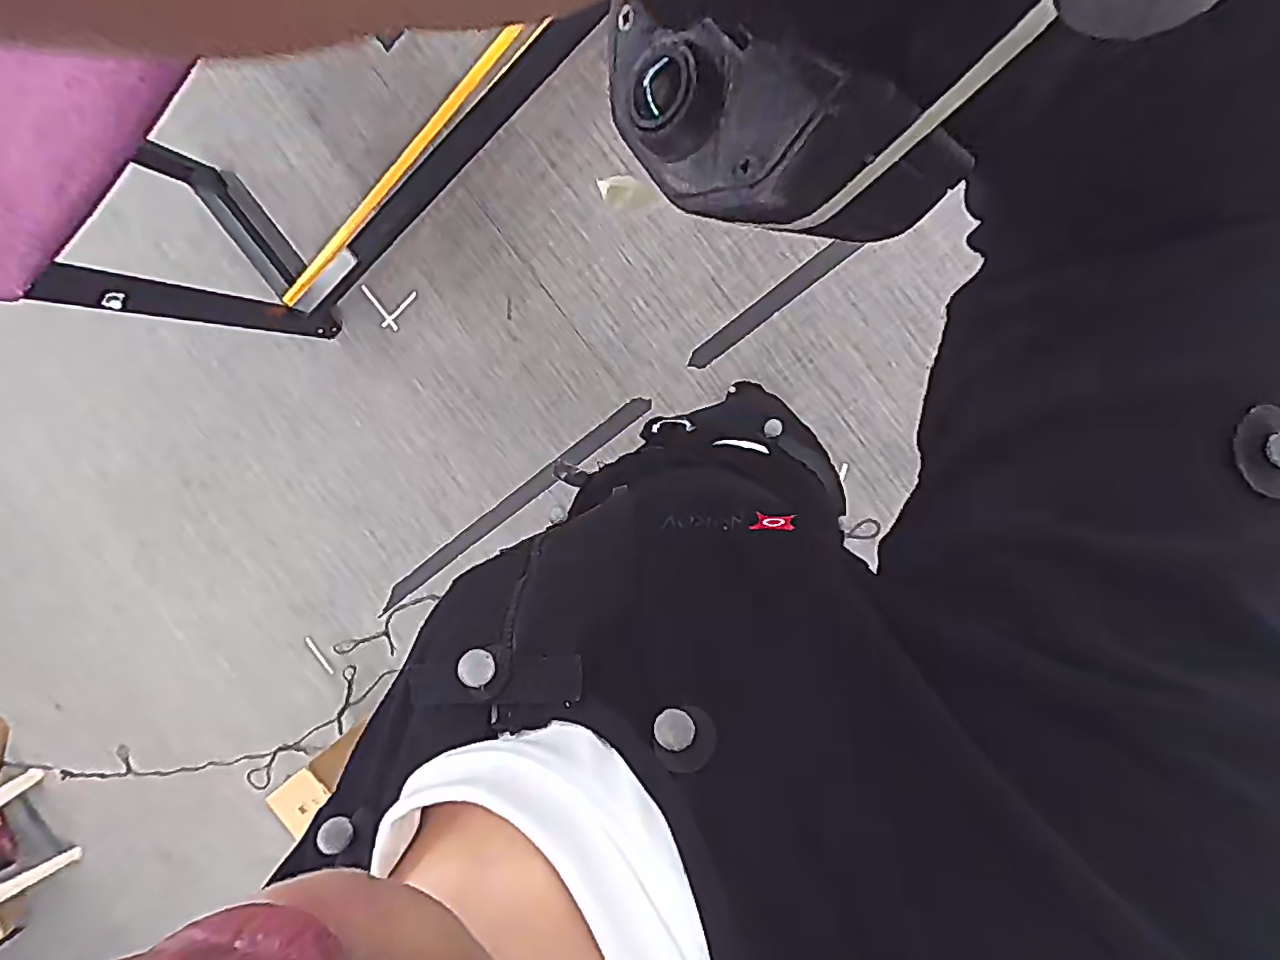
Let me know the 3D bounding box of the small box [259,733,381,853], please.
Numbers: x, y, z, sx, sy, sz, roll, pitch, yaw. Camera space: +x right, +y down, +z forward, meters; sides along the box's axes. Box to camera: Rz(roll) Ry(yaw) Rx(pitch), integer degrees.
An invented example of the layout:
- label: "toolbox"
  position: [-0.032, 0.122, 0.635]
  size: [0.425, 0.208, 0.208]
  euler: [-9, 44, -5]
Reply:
- label: "small box"
  position: [-0.821, 0.804, 1.403]
  size: [0.179, 0.176, 0.168]
  euler: [-39, 90, 13]

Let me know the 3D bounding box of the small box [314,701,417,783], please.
- label: "small box"
  position: [-0.789, 0.782, 1.564]
  size: [0.179, 0.176, 0.168]
  euler: [-37, 90, 13]
